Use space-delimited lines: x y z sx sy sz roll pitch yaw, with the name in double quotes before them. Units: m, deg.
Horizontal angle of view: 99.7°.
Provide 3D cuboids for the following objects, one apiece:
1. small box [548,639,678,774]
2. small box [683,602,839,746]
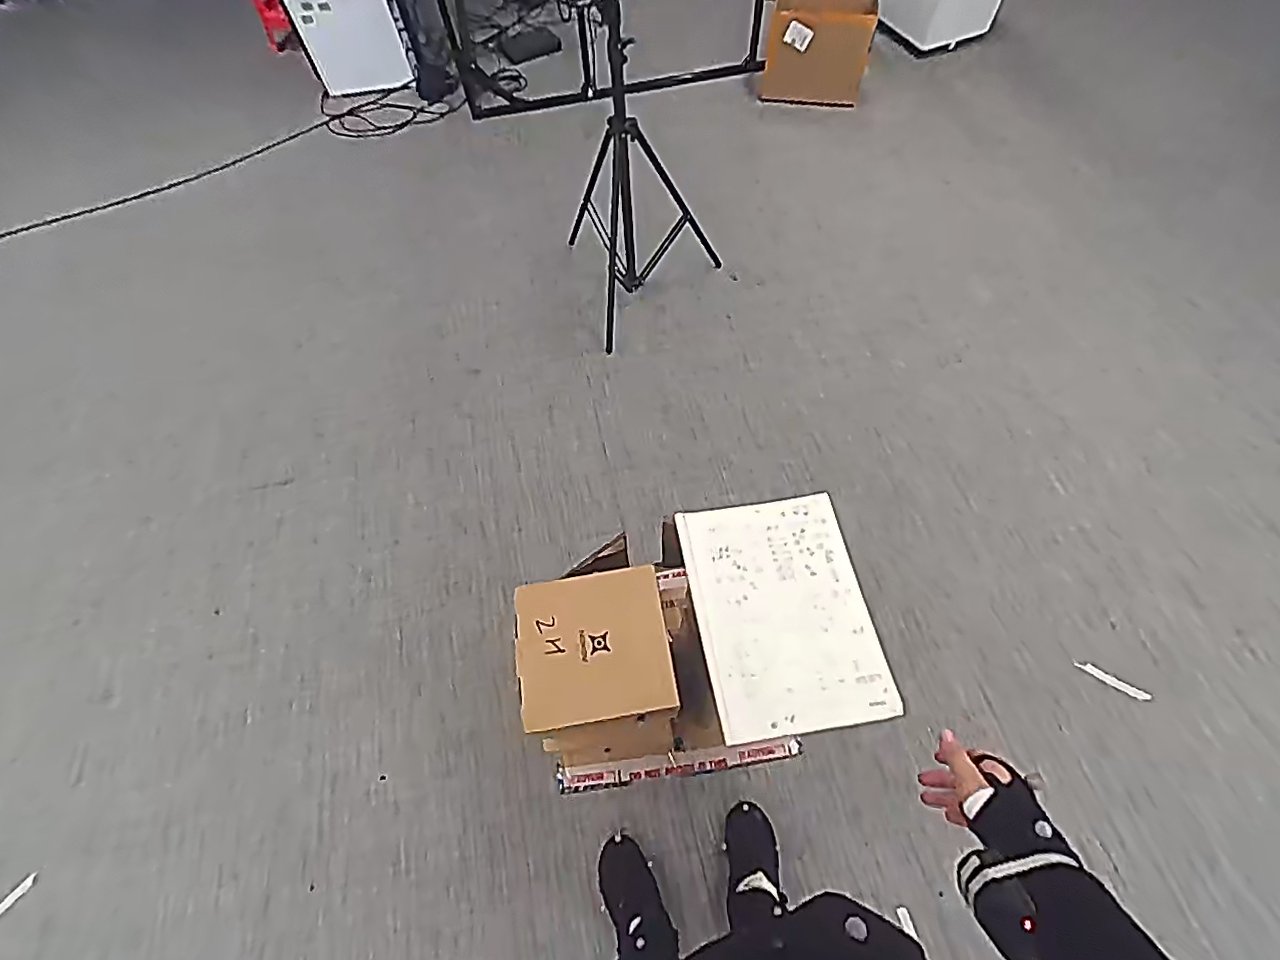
"small box" -0.038 0.347 0.828 0.179 0.176 0.168 -6 63 1
"small box" 0.174 0.306 0.842 0.179 0.176 0.168 -12 62 -5
